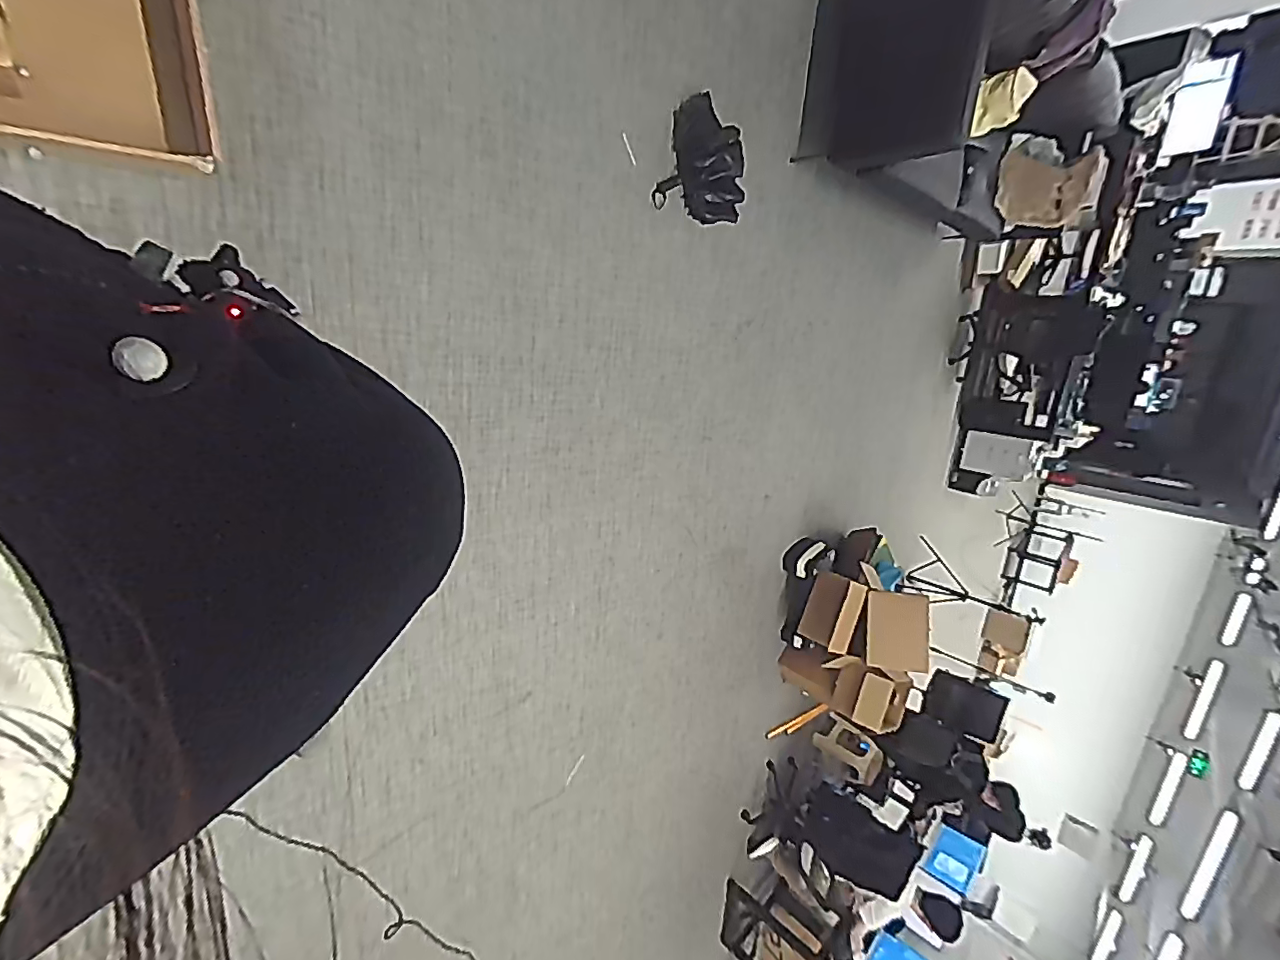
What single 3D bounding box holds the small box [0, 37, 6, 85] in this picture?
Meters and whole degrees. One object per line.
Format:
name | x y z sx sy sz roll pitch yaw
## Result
small box | -1.005 -0.666 0.731 0.179 0.176 0.168 -10 109 -43
